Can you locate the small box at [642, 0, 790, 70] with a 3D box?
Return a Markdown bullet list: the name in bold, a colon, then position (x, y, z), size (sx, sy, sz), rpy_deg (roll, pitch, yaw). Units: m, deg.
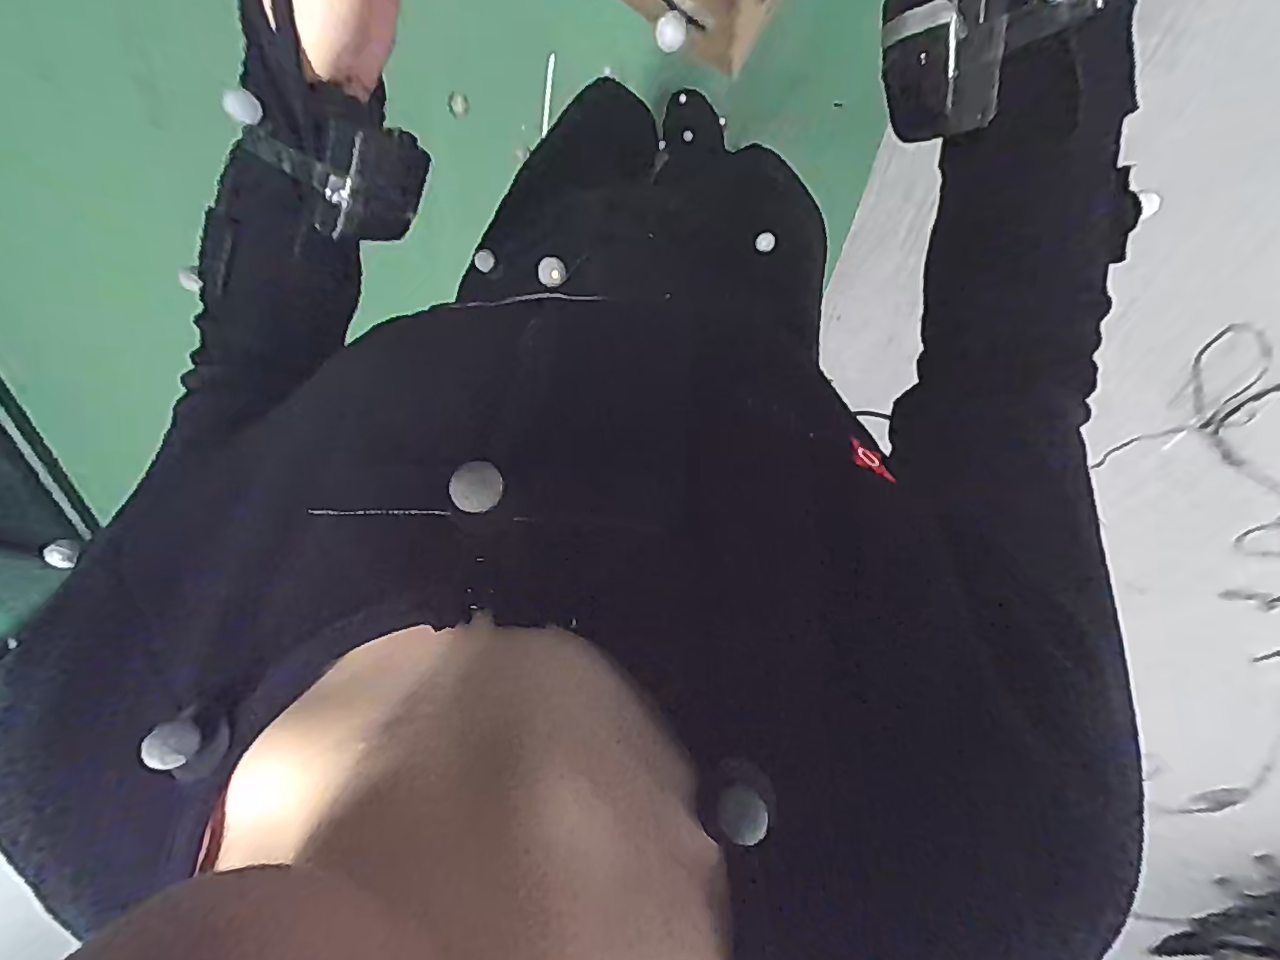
- **small box**: position (0.016, -0.275, 0.158), size (0.176, 0.168, 0.179), rpy_deg (30, 119, -8)
